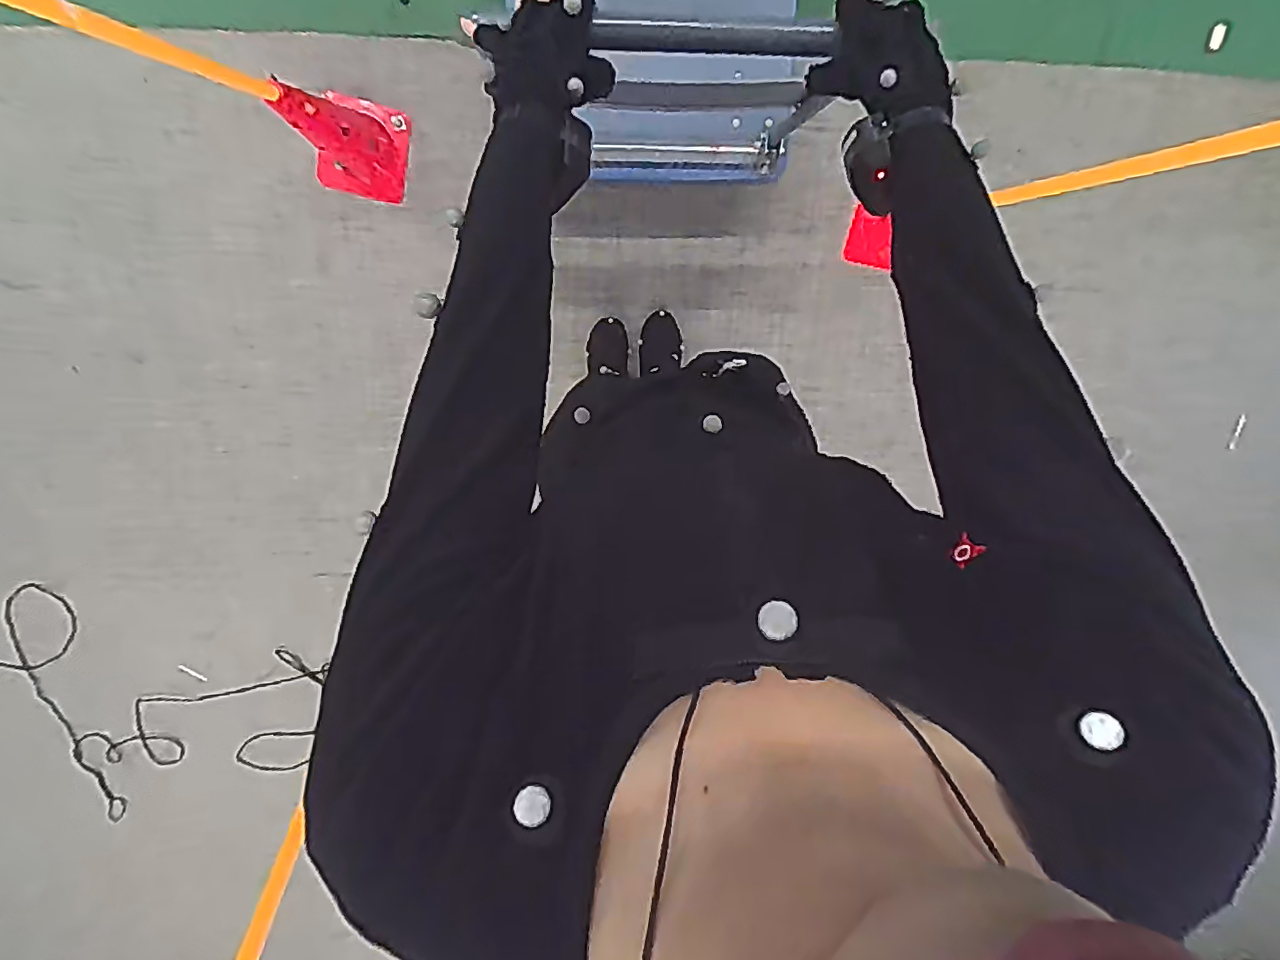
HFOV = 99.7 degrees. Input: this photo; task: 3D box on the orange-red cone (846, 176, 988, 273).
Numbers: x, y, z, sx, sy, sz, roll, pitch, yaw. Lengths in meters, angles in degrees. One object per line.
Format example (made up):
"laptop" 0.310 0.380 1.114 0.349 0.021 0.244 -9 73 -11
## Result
"orange-red cone" 0.643 -0.587 1.200 0.198 0.360 0.199 11 108 -6
